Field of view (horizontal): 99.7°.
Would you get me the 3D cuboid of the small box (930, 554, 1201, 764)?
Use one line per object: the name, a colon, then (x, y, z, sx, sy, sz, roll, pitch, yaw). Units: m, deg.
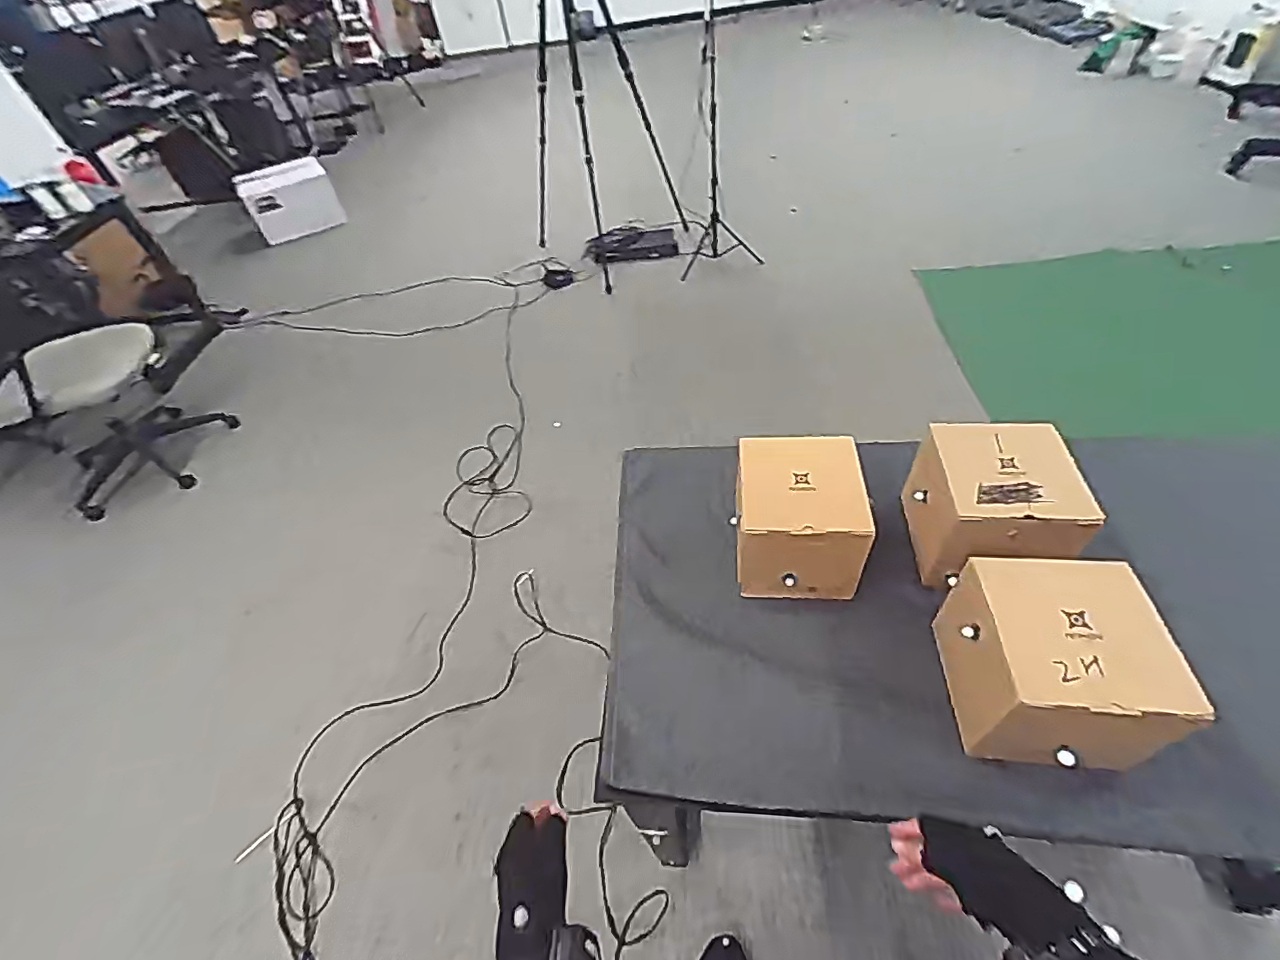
small box: (0.463, 0.207, 0.631, 0.168, 0.176, 0.179, 1, 49, 9)

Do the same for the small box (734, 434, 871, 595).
small box: (0.227, 0.051, 0.805, 0.168, 0.176, 0.179, 0, 50, 8)
